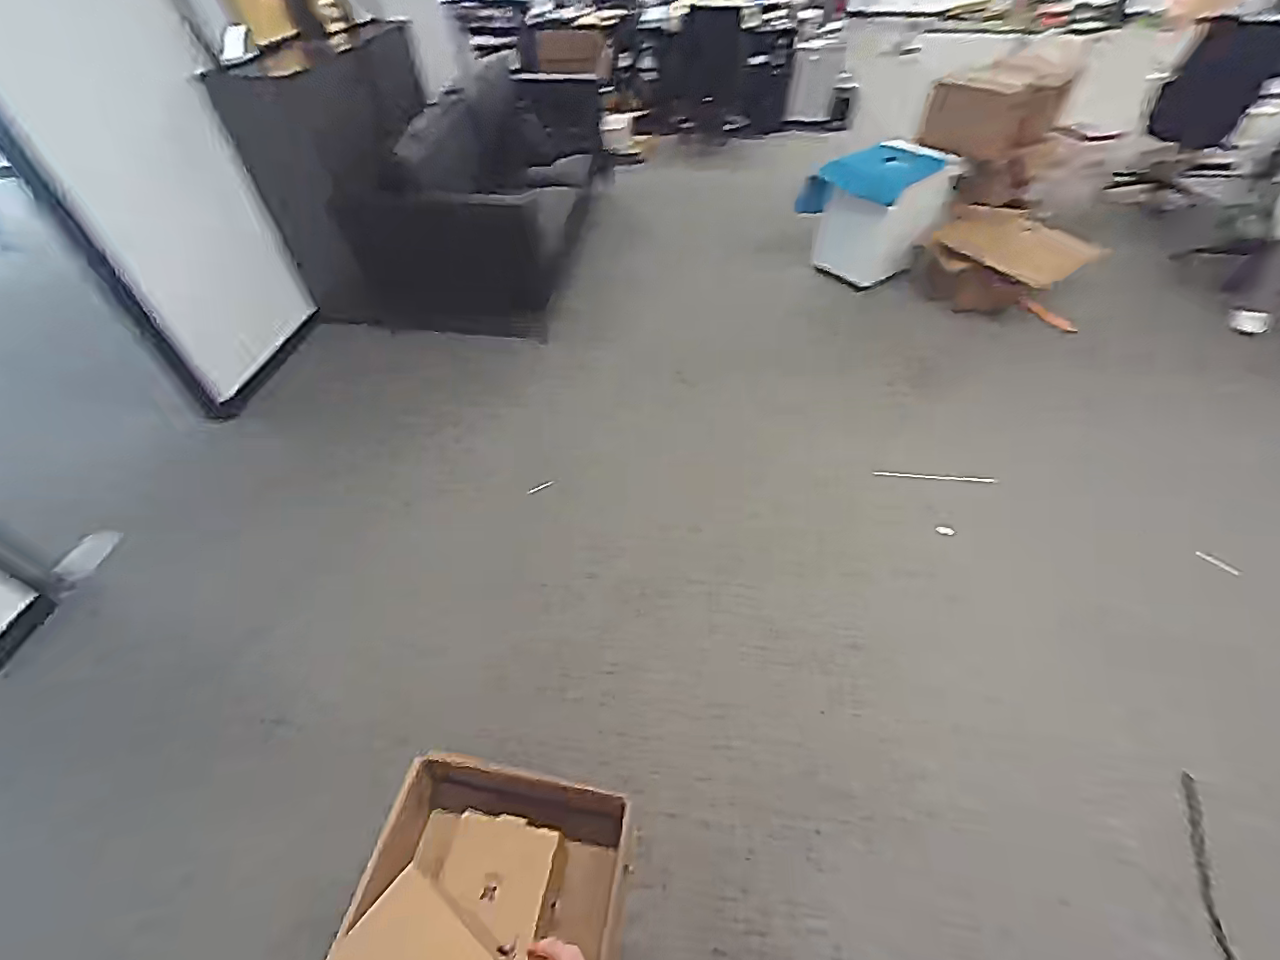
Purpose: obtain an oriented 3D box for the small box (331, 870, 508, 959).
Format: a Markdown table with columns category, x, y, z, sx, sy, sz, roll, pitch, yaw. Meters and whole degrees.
| category | x | y | z | sx | sy | sz | roll | pitch | yaw |
| --- | --- | --- | --- | --- | --- | --- | --- | --- | --- |
| small box | -0.182 | 0.482 | 0.445 | 0.168 | 0.176 | 0.179 | 21 | 48 | 31 |
